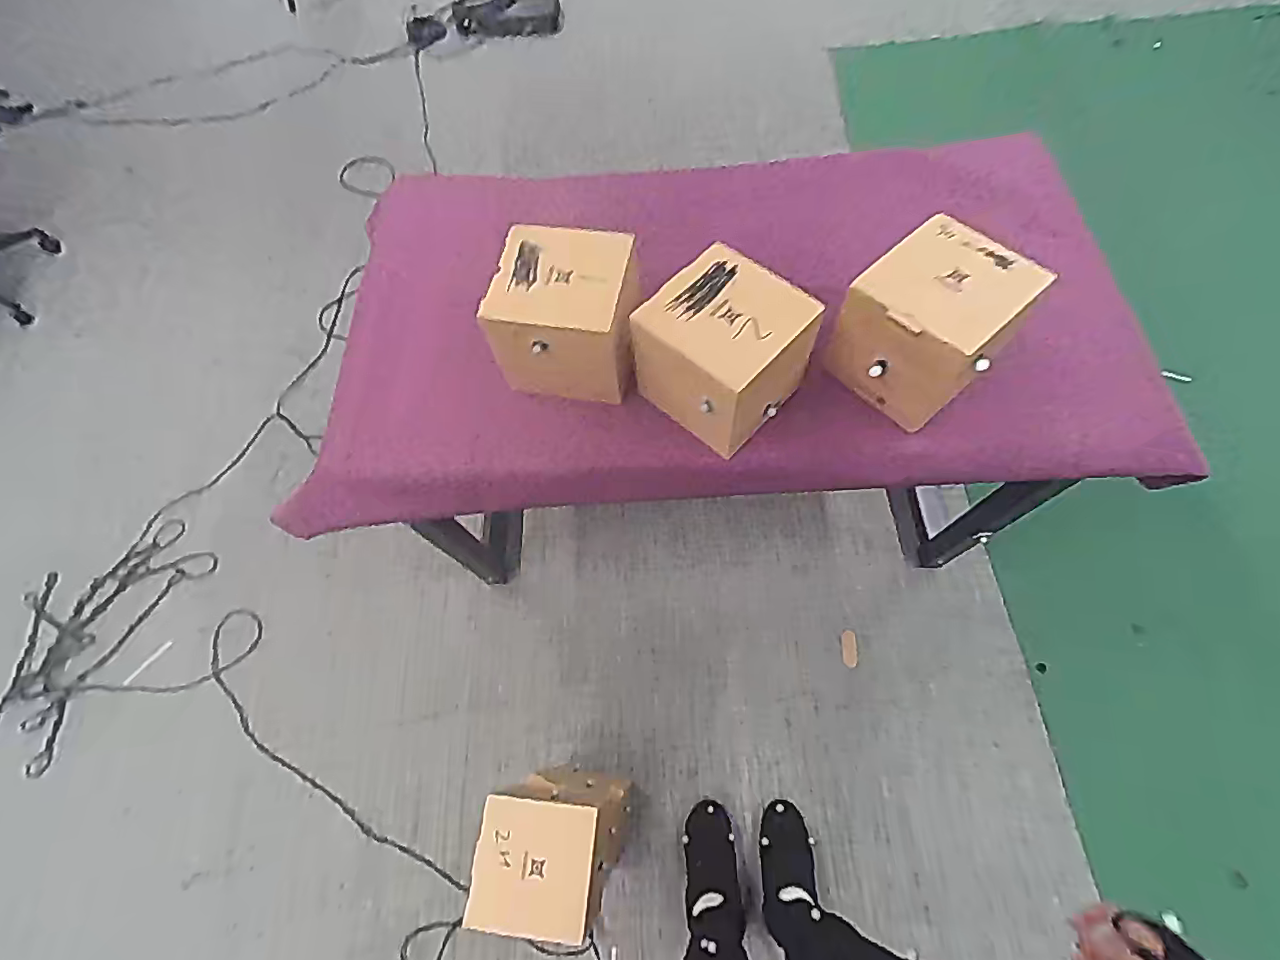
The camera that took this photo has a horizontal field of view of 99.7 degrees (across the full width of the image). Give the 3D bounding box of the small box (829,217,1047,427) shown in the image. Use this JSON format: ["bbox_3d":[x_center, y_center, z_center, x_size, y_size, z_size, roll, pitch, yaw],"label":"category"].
[{"bbox_3d":[0.378,-0.203,0.727,0.179,0.176,0.168,-39,67,-13],"label":"small box"}]

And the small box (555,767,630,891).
[{"bbox_3d":[-0.121,0.724,1.146,0.168,0.176,0.179,10,67,10],"label":"small box"}]

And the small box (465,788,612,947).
[{"bbox_3d":[-0.145,0.590,0.849,0.179,0.176,0.168,3,65,7],"label":"small box"}]

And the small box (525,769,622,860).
[{"bbox_3d":[-0.141,0.659,0.999,0.168,0.176,0.179,15,67,12],"label":"small box"}]
